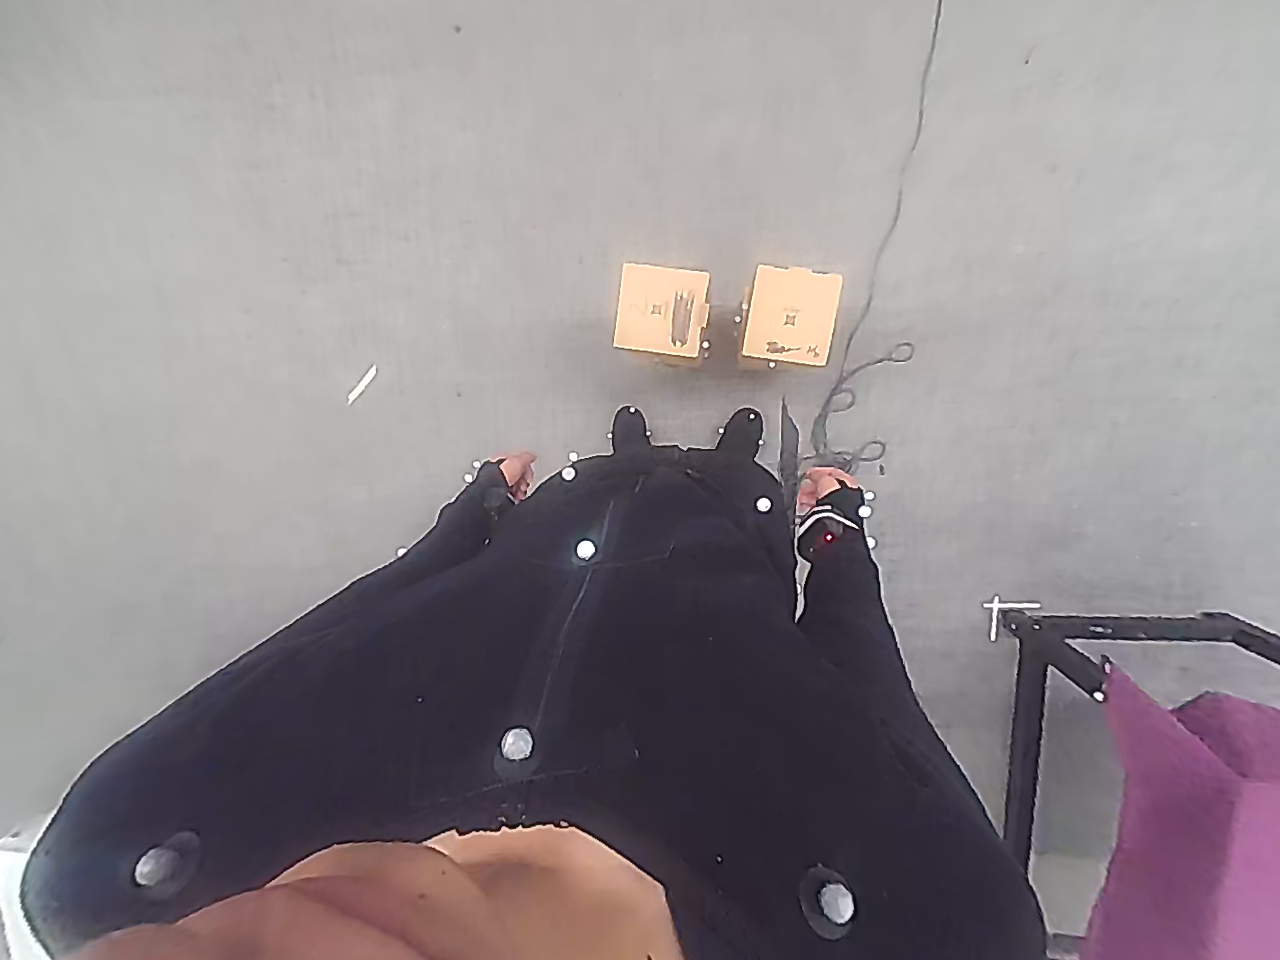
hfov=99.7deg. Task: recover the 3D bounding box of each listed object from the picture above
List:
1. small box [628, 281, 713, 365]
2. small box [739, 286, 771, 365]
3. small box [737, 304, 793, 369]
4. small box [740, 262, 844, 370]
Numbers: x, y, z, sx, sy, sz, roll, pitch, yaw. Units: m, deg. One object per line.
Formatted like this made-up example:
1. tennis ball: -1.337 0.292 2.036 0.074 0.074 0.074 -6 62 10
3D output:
1. small box: 0.078 -0.372 1.311 0.179 0.176 0.168 9 100 6
2. small box: 0.329 -0.361 1.287 0.179 0.176 0.168 2 100 7
3. small box: 0.348 -0.389 1.445 0.168 0.176 0.179 1 100 7
4. small box: 0.306 -0.333 1.126 0.168 0.176 0.179 10 99 6
